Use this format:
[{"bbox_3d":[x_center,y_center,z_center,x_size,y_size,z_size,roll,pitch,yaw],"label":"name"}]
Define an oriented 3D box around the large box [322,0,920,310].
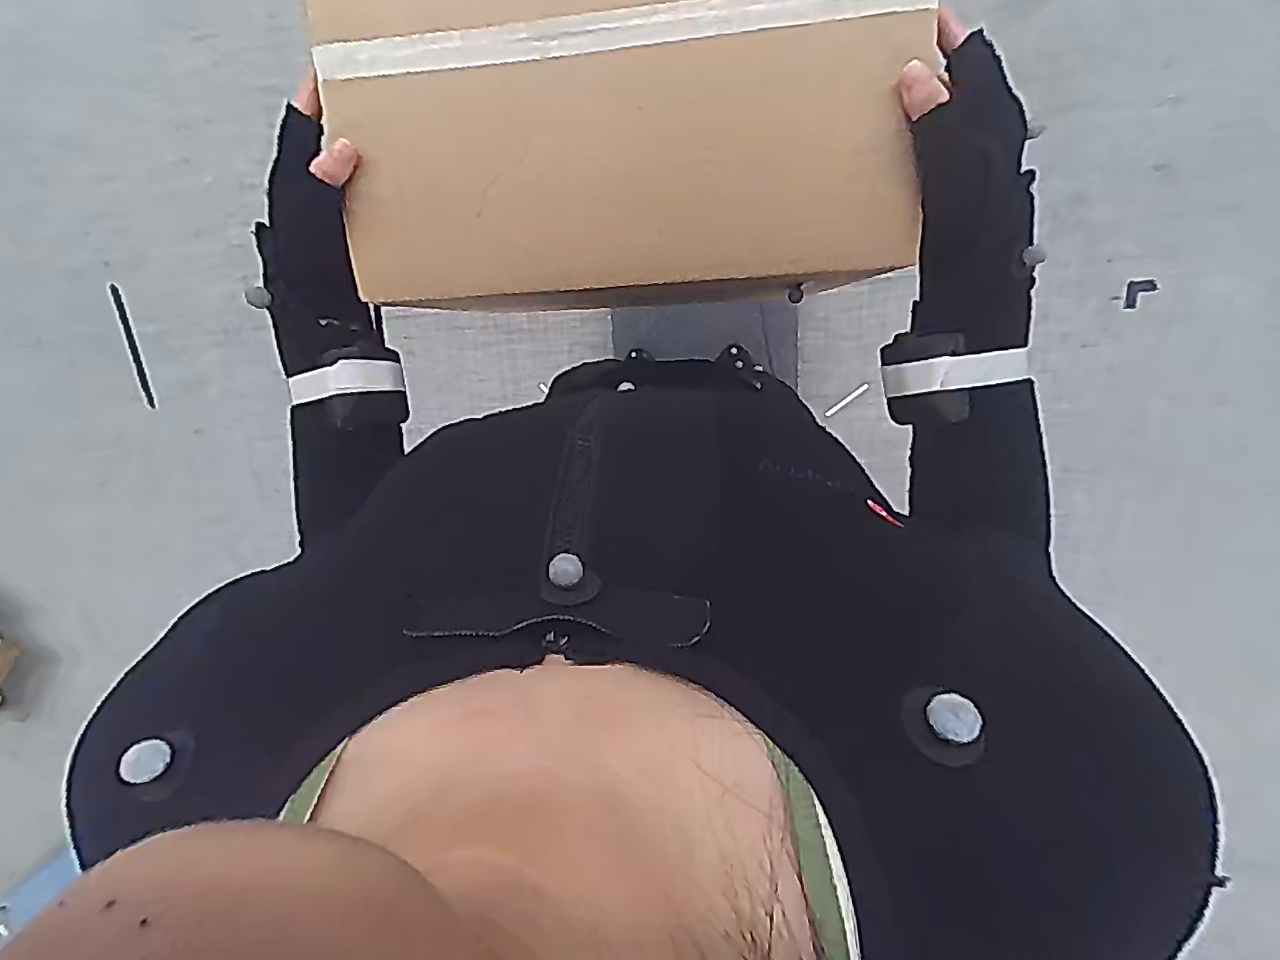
[{"bbox_3d":[-0.003,-0.335,0.505,0.408,0.320,0.320,-2,105,6],"label":"large box"}]
